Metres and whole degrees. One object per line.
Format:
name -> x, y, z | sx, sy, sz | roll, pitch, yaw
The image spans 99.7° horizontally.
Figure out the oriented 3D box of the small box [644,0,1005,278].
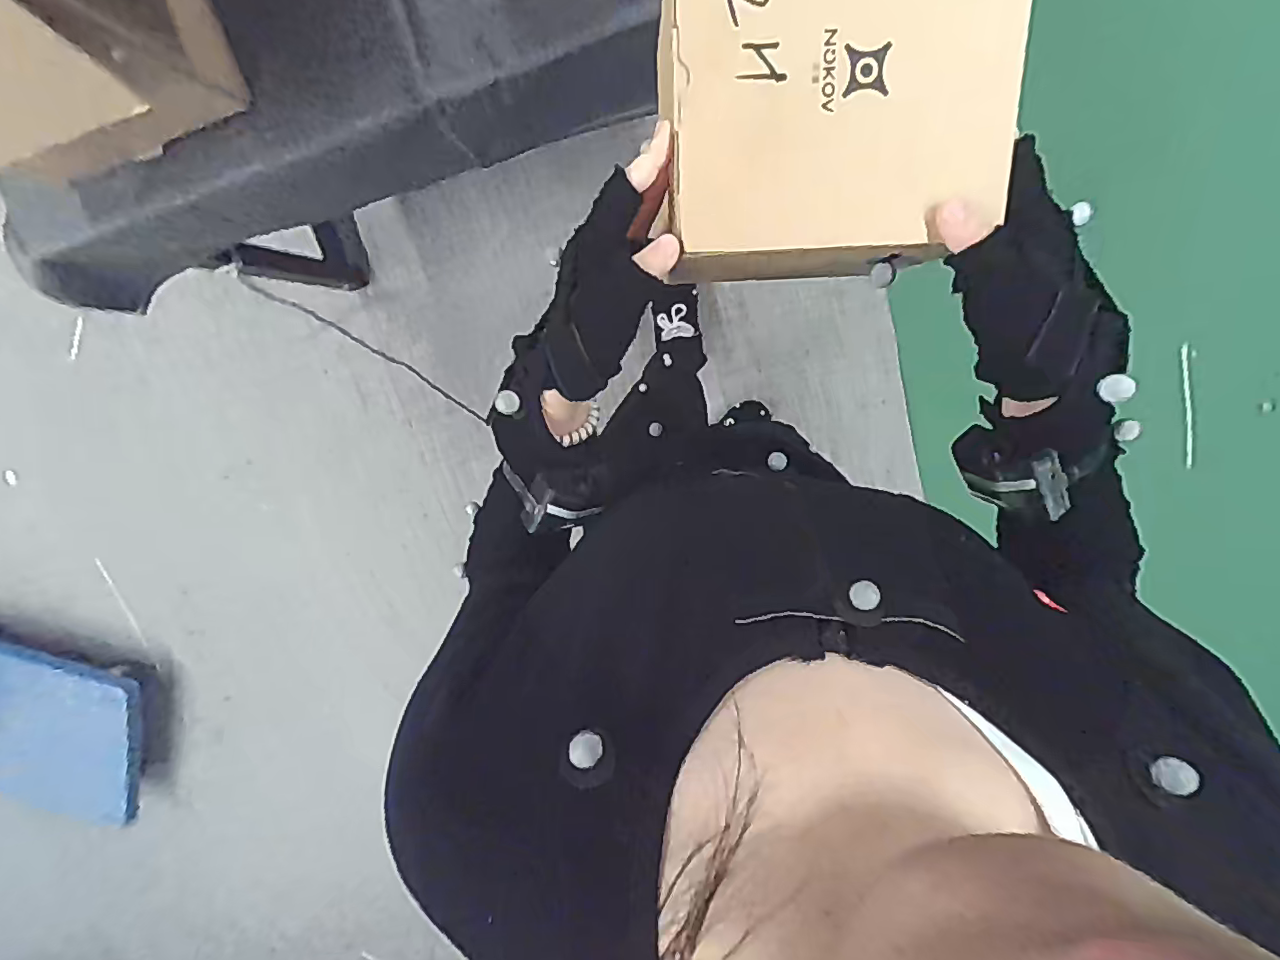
small box -> 0.095, -0.229, 0.353 | 0.179, 0.176, 0.168 | -2, 104, 0
